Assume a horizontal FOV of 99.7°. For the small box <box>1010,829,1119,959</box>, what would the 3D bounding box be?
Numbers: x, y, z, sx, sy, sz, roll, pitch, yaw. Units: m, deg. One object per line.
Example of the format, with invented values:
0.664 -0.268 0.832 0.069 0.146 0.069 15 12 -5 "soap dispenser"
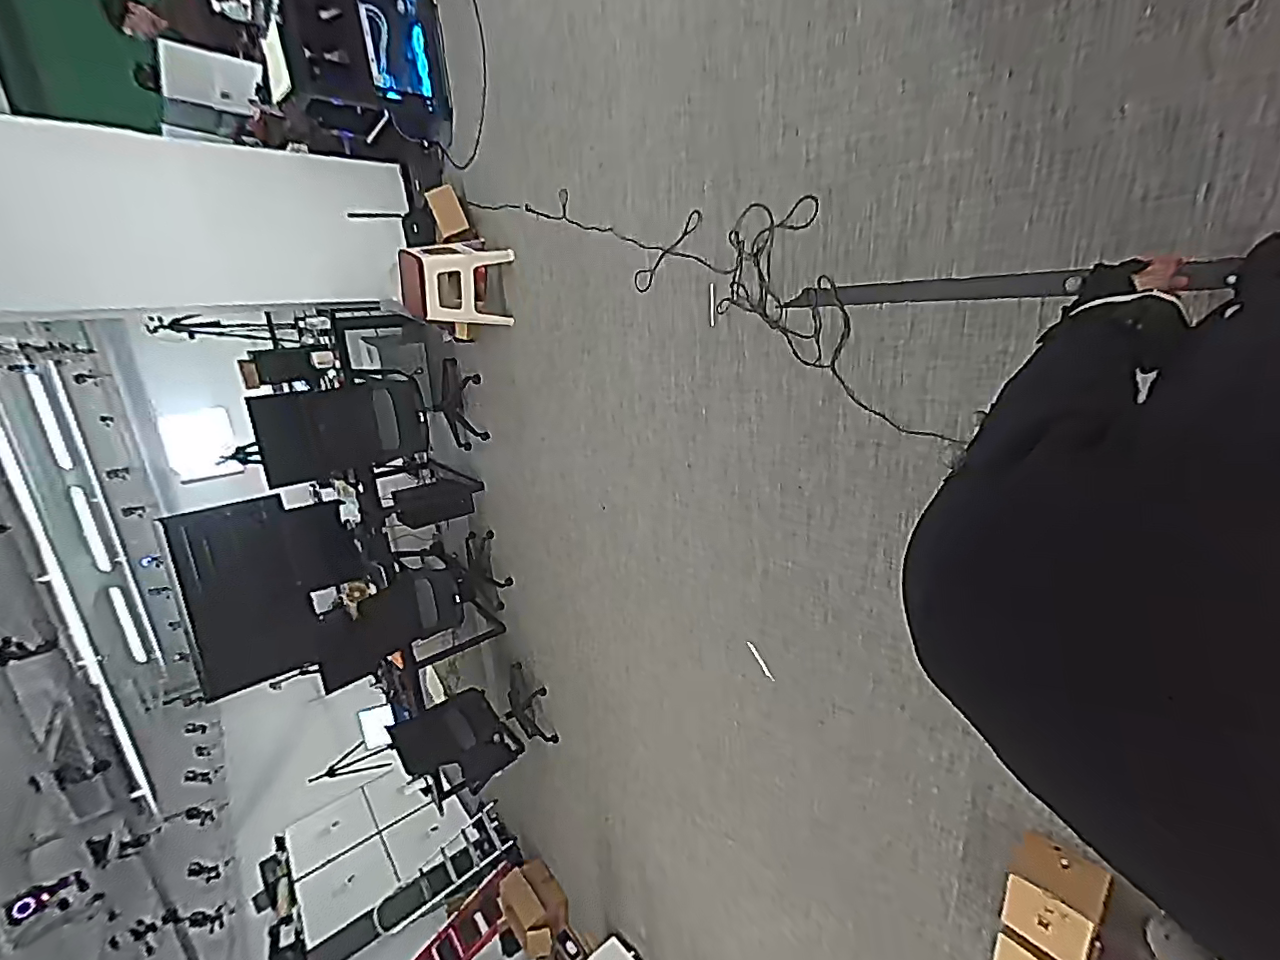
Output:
1.044 1.021 1.330 0.168 0.176 0.179 16 116 49 "small box"
